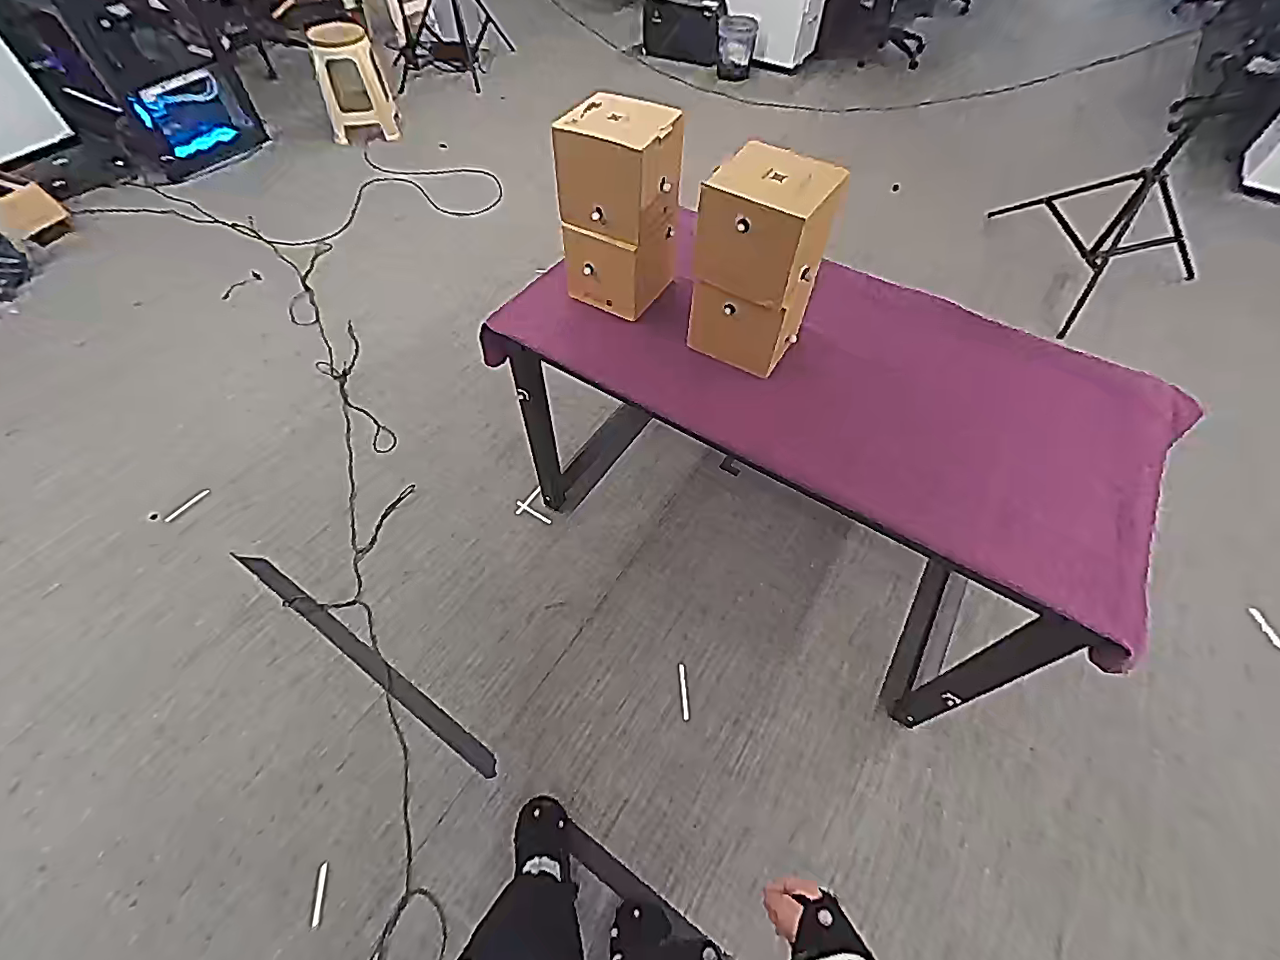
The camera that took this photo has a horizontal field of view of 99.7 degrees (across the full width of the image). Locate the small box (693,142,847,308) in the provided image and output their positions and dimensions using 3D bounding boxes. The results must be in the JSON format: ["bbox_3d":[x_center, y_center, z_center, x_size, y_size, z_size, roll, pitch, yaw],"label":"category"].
[{"bbox_3d":[0.203,-0.414,0.891,0.179,0.176,0.168,30,61,16],"label":"small box"}]

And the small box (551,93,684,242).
[{"bbox_3d":[-0.039,-0.564,0.986,0.179,0.176,0.168,25,58,14],"label":"small box"}]

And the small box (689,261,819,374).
[{"bbox_3d":[0.208,-0.331,1.030,0.179,0.176,0.168,28,59,15],"label":"small box"}]

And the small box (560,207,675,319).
[{"bbox_3d":[-0.041,-0.463,1.116,0.168,0.176,0.179,26,58,16],"label":"small box"}]
